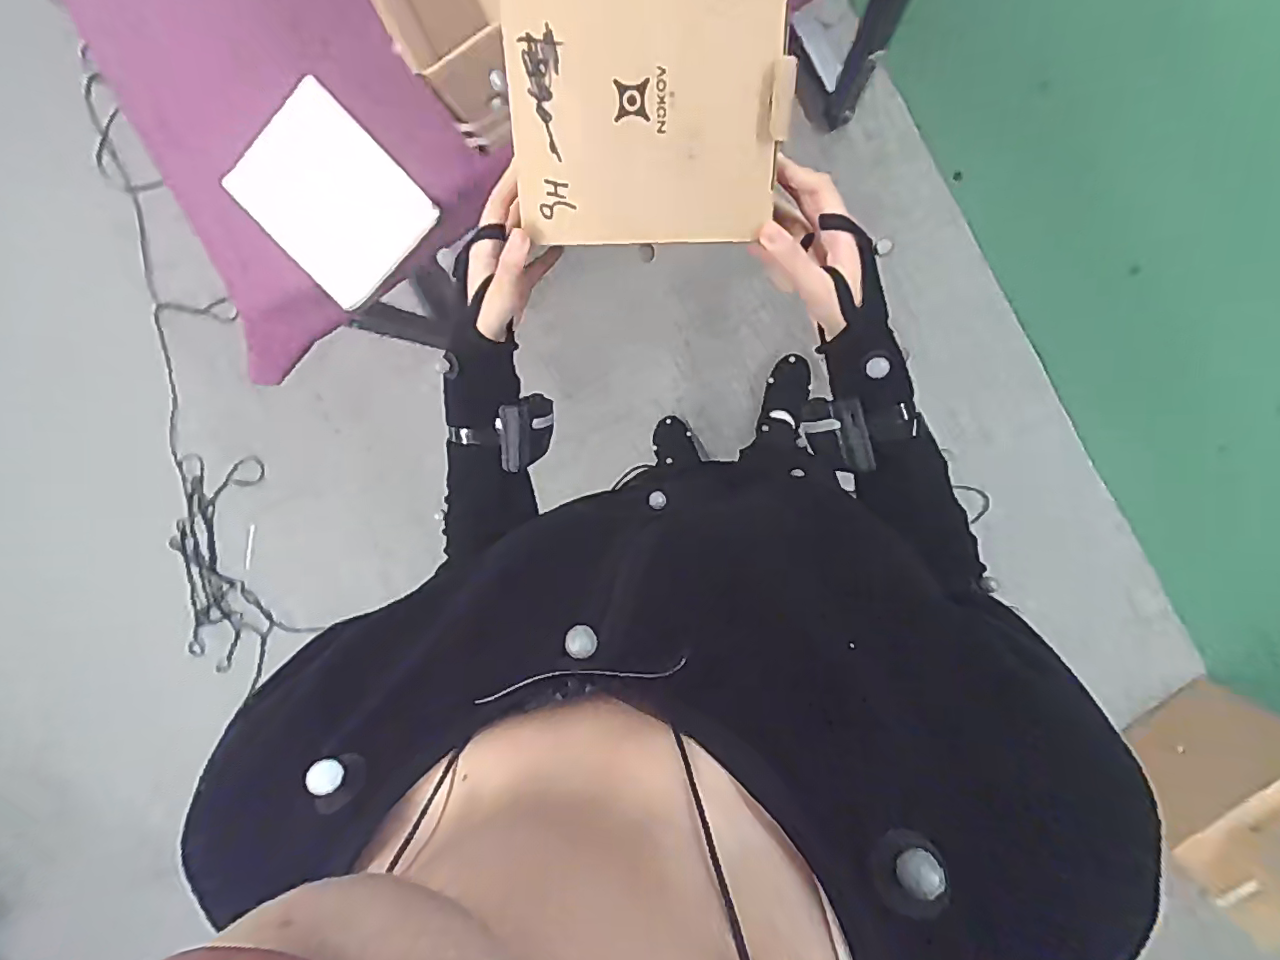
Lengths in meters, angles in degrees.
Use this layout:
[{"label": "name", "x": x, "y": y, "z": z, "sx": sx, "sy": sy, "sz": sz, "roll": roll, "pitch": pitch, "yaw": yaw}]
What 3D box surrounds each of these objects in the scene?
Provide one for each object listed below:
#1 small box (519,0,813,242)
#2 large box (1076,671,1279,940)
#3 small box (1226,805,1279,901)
[{"label": "small box", "x": 0.012, "y": -0.273, "z": 0.408, "sx": 0.179, "sy": 0.176, "sz": 0.168, "roll": 0, "pitch": 114, "yaw": -1}, {"label": "large box", "x": 1.416, "y": 0.757, "z": 1.310, "sx": 0.408, "sy": 0.320, "sz": 0.320, "roll": -44, "pitch": 92, "yaw": 8}, {"label": "small box", "x": 1.351, "y": 0.781, "z": 1.071, "sx": 0.168, "sy": 0.176, "sz": 0.179, "roll": -38, "pitch": 91, "yaw": 10}]
